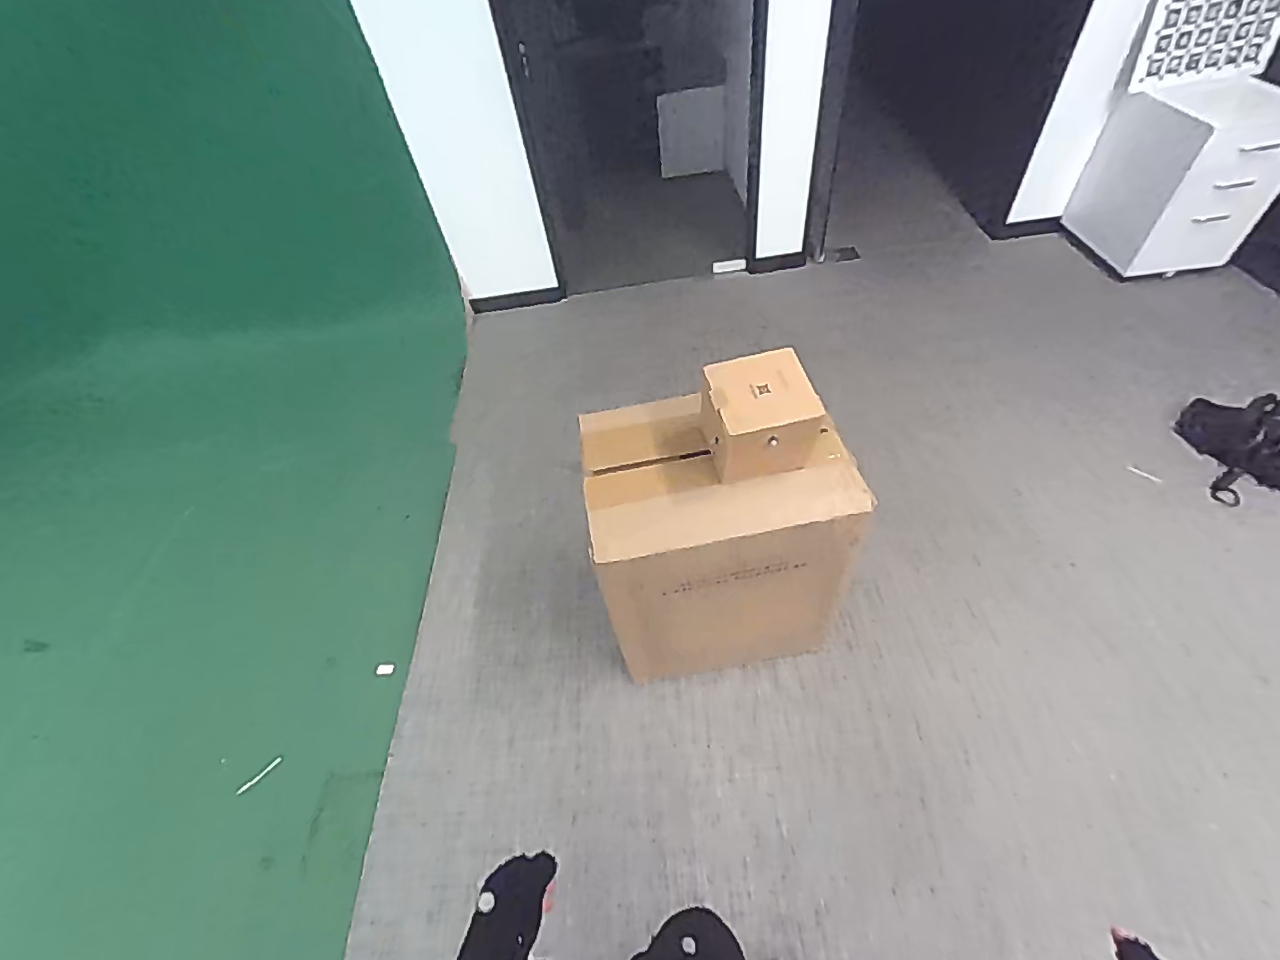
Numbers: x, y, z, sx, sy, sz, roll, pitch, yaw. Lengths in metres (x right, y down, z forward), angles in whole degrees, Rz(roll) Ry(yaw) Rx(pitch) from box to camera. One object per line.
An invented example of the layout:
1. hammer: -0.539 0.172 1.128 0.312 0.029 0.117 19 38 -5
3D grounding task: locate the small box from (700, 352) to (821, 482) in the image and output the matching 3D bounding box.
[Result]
1. small box: 0.217 -0.114 1.033 0.179 0.176 0.168 -12 59 -4
